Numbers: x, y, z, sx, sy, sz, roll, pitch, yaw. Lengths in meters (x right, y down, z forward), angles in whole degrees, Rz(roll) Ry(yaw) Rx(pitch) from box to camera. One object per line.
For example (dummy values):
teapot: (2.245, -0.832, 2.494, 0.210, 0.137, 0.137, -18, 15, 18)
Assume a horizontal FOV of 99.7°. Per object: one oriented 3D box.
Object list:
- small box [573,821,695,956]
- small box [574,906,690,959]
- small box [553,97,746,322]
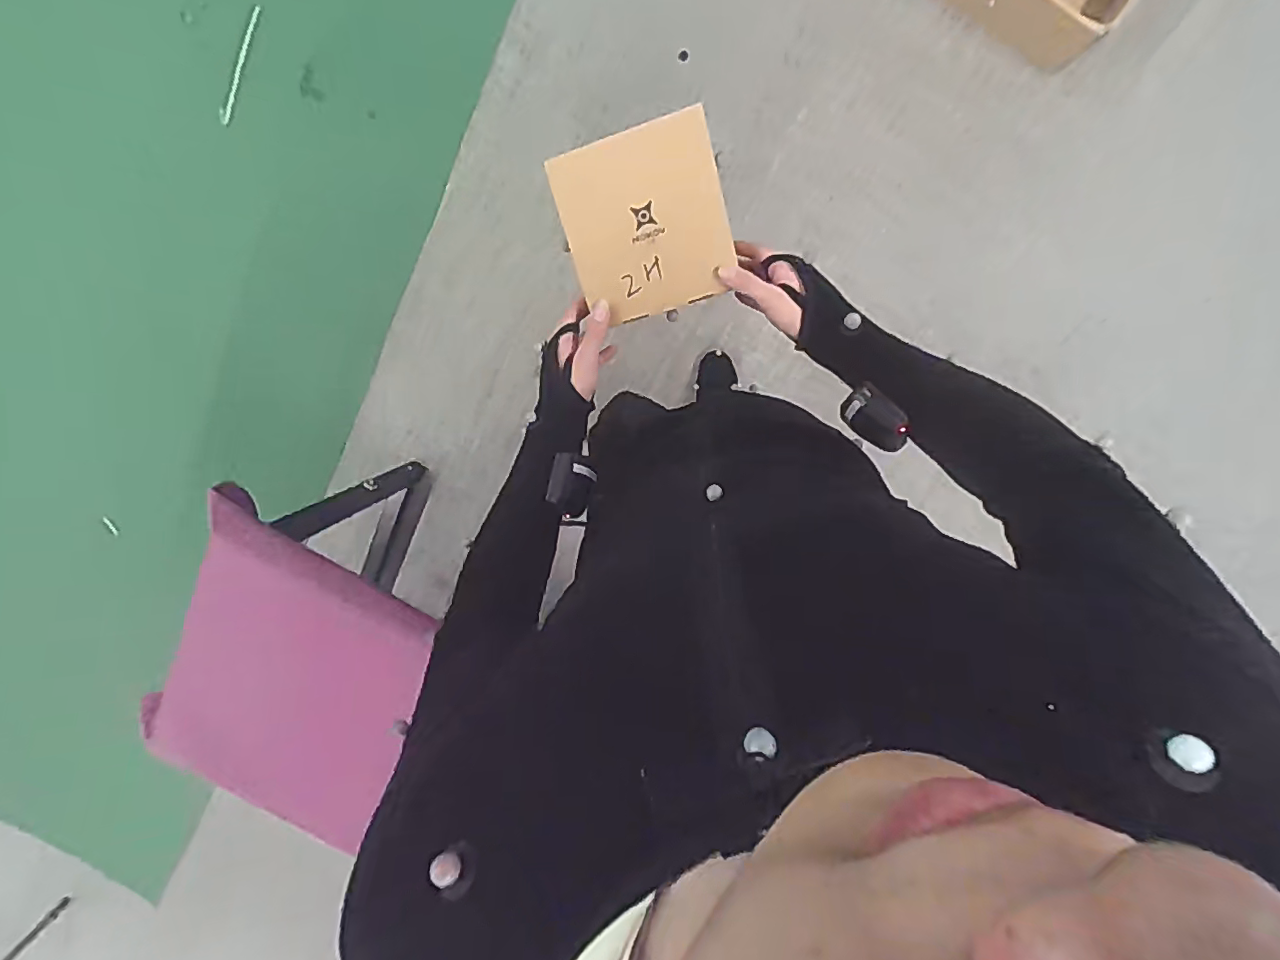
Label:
small box: (-0.001, 0.807, 1.030, 0.168, 0.176, 0.179, 28, 107, 0)
small box: (-0.025, 0.847, 0.872, 0.168, 0.176, 0.179, 28, 107, 1)
small box: (0.017, -0.291, 0.621, 0.168, 0.176, 0.179, -13, 108, 10)
